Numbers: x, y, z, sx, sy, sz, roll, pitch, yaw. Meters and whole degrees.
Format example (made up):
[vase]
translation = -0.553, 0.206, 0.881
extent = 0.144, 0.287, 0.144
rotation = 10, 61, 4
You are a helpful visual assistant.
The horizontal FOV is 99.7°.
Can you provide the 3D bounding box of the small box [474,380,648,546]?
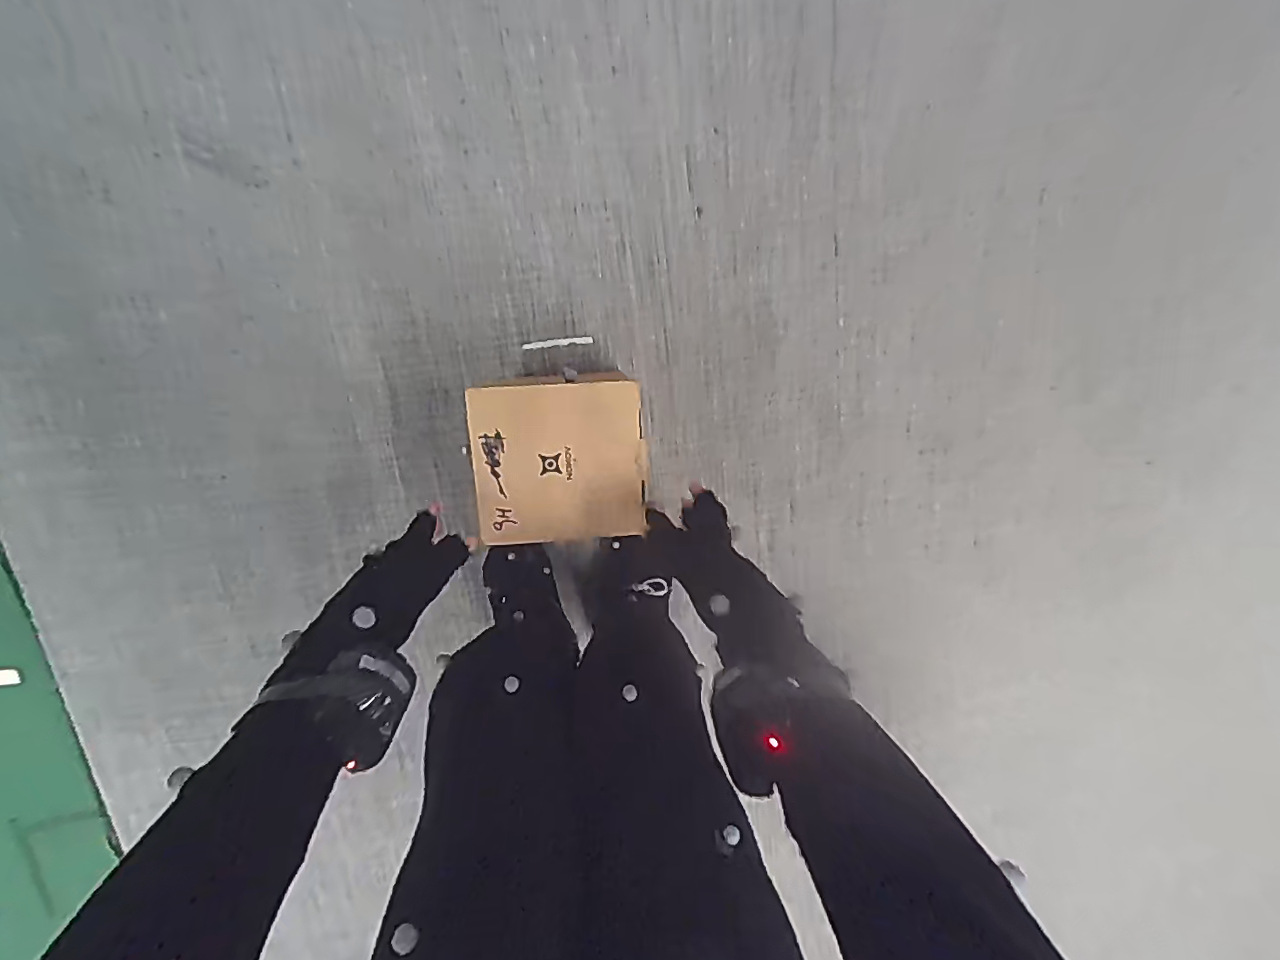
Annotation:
[small box]
translation = -0.089, -0.031, 0.641
extent = 0.179, 0.176, 0.168
rotation = -3, 103, -6
